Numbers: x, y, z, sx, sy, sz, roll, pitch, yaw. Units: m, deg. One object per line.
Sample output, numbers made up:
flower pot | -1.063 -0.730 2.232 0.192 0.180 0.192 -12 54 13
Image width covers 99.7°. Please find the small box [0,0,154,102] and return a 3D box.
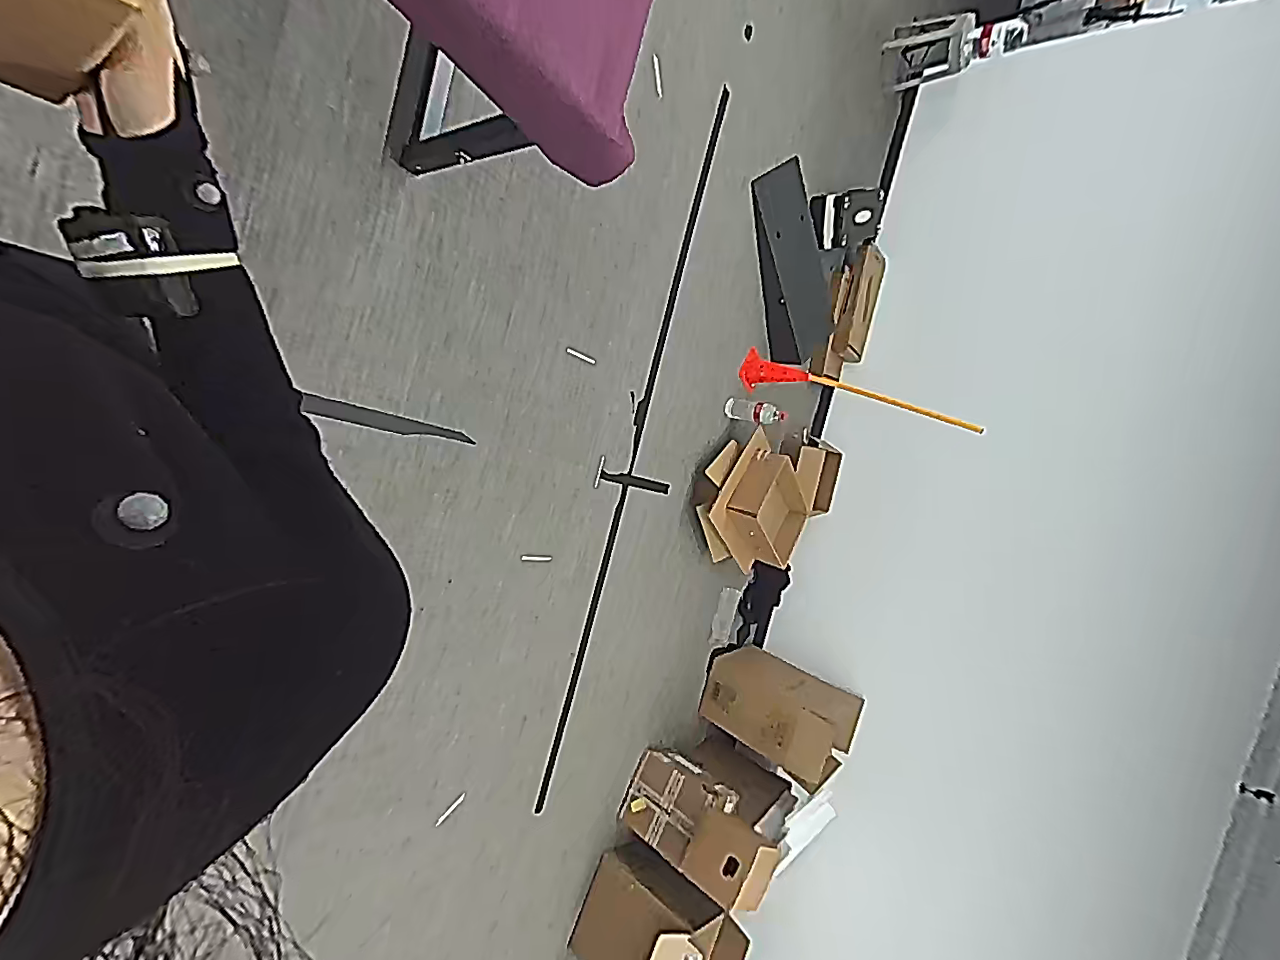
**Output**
small box | -0.327 -0.305 0.225 0.168 0.176 0.179 2 95 -56
